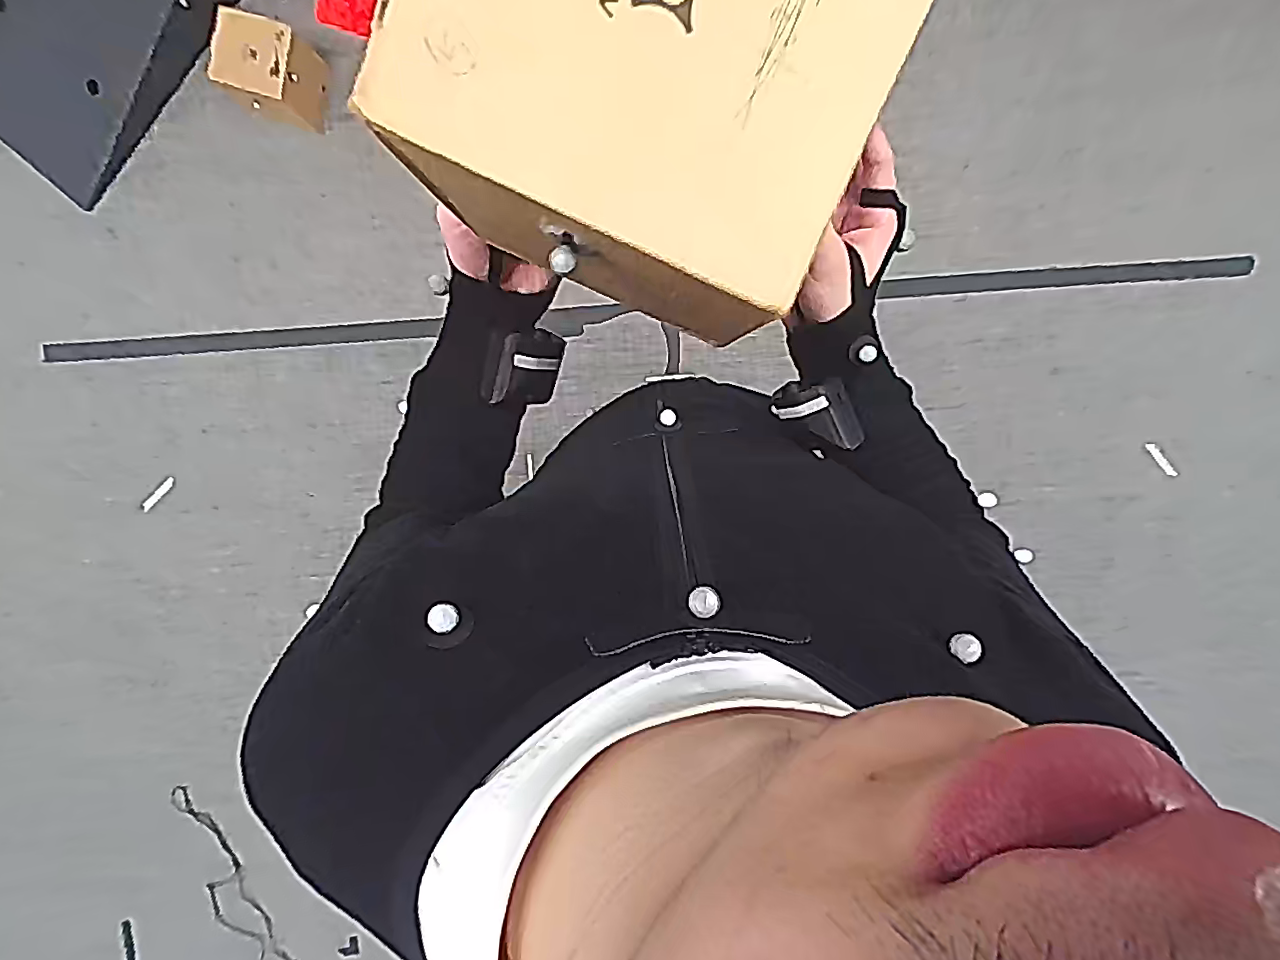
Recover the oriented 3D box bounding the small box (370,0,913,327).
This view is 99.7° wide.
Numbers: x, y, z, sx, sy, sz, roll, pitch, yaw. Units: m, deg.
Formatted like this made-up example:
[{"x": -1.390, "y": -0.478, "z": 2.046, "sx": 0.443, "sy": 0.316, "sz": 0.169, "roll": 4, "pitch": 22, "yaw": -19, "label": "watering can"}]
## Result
[{"x": 0.009, "y": -0.190, "z": 0.274, "sx": 0.179, "sy": 0.176, "sz": 0.168, "roll": 22, "pitch": 99, "yaw": -3, "label": "small box"}]
